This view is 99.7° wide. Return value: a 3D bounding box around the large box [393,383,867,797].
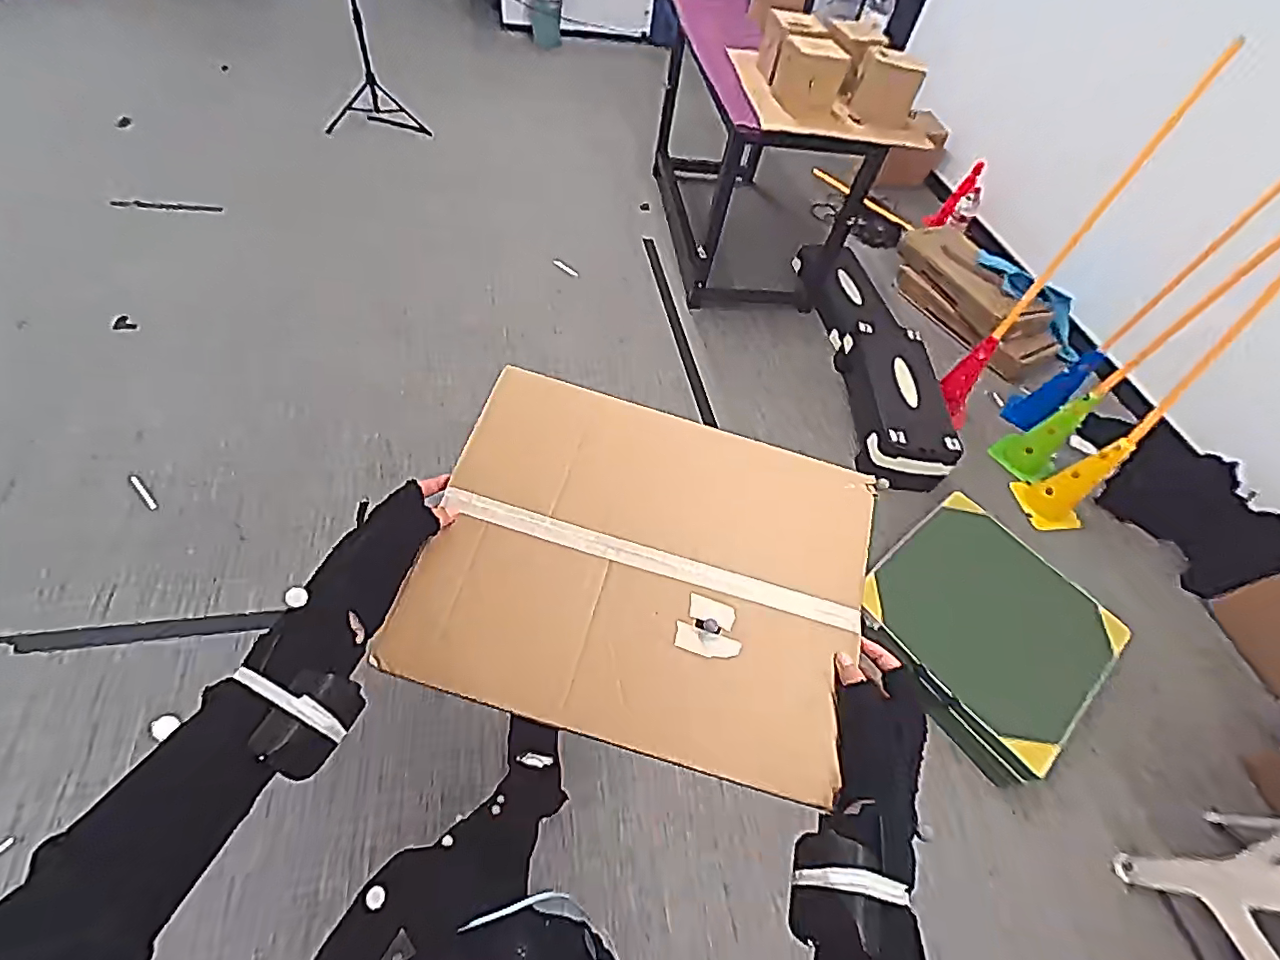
[{"bbox_3d":[-0.003,0.140,0.656,0.408,0.320,0.320,18,67,0],"label":"large box"}]
